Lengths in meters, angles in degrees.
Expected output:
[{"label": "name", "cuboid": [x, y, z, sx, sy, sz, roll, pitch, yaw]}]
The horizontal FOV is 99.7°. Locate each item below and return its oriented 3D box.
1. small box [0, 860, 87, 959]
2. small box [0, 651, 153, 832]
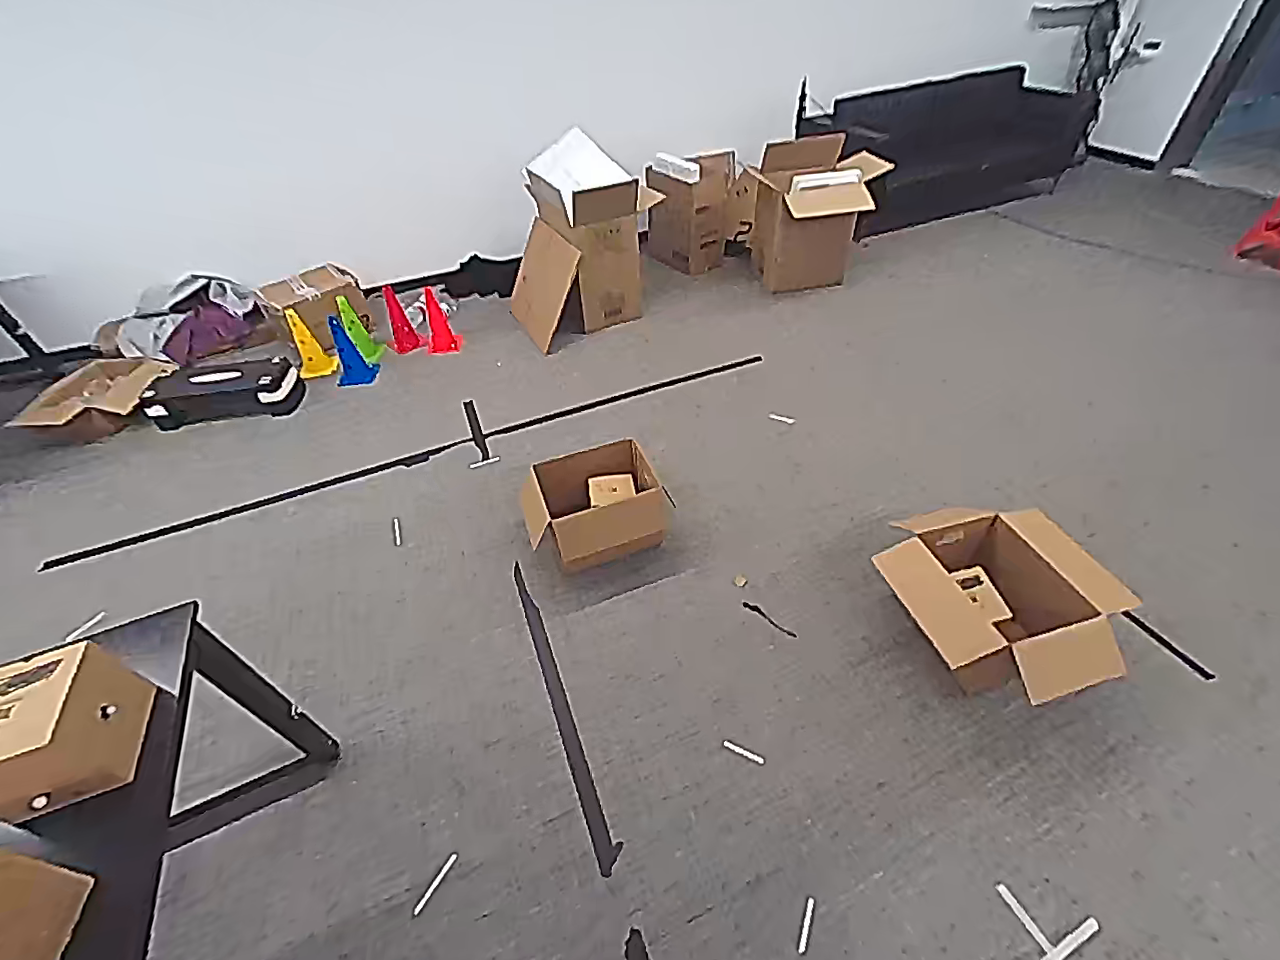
[{"label": "small box", "cuboid": [-0.837, 0.591, 0.645, 0.168, 0.176, 0.179, -10, 45, -5]}, {"label": "small box", "cuboid": [-0.915, 0.405, 0.840, 0.168, 0.176, 0.179, -18, 47, -13]}]
